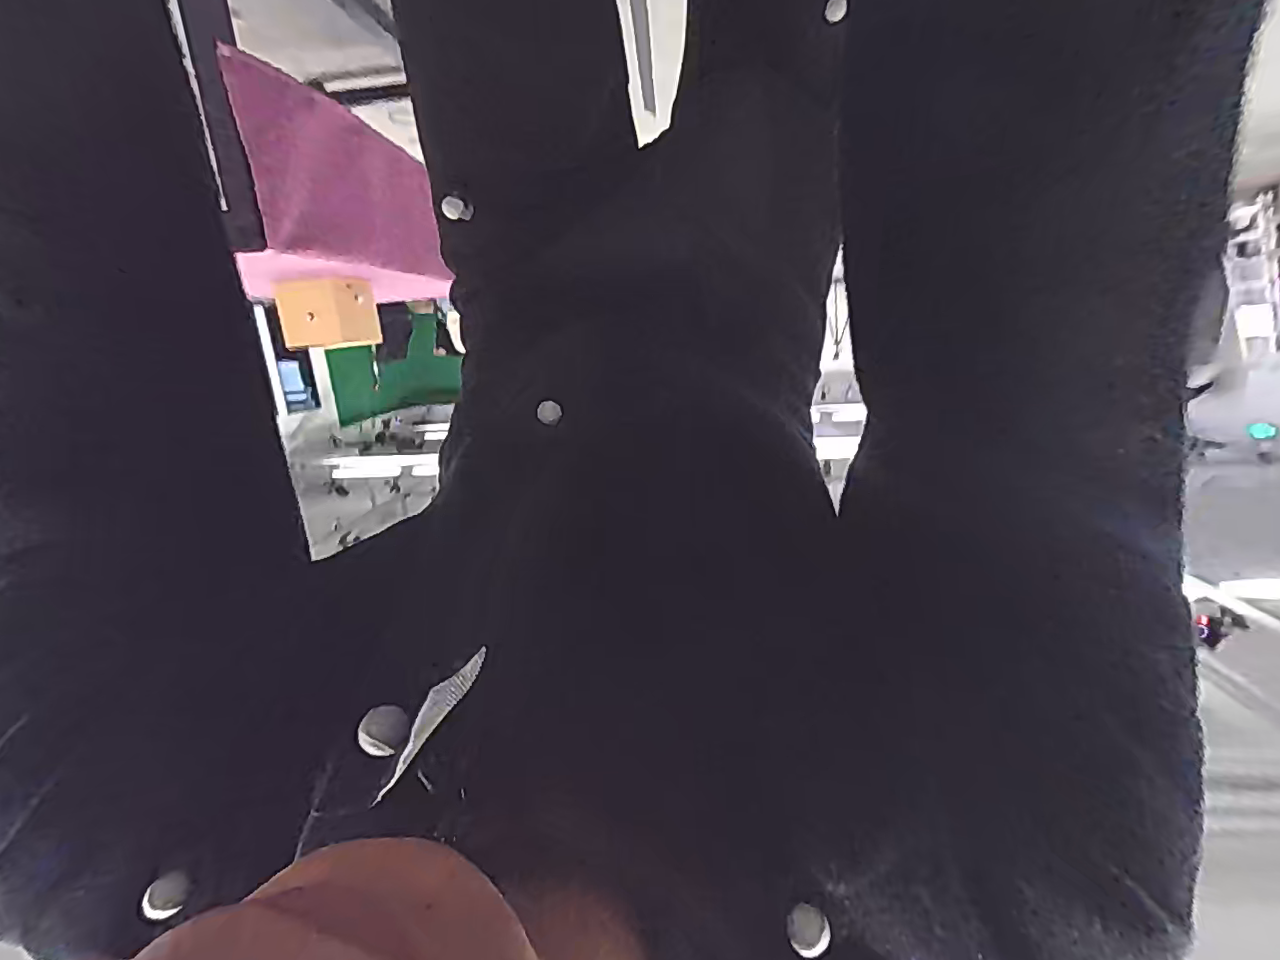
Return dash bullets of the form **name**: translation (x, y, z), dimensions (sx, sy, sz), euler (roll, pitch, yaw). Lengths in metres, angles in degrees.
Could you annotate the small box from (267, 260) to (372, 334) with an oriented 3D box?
- **small box**: translation (-0.858, -0.486, 1.448), dimensions (0.179, 0.176, 0.168), euler (-2, -163, 10)
